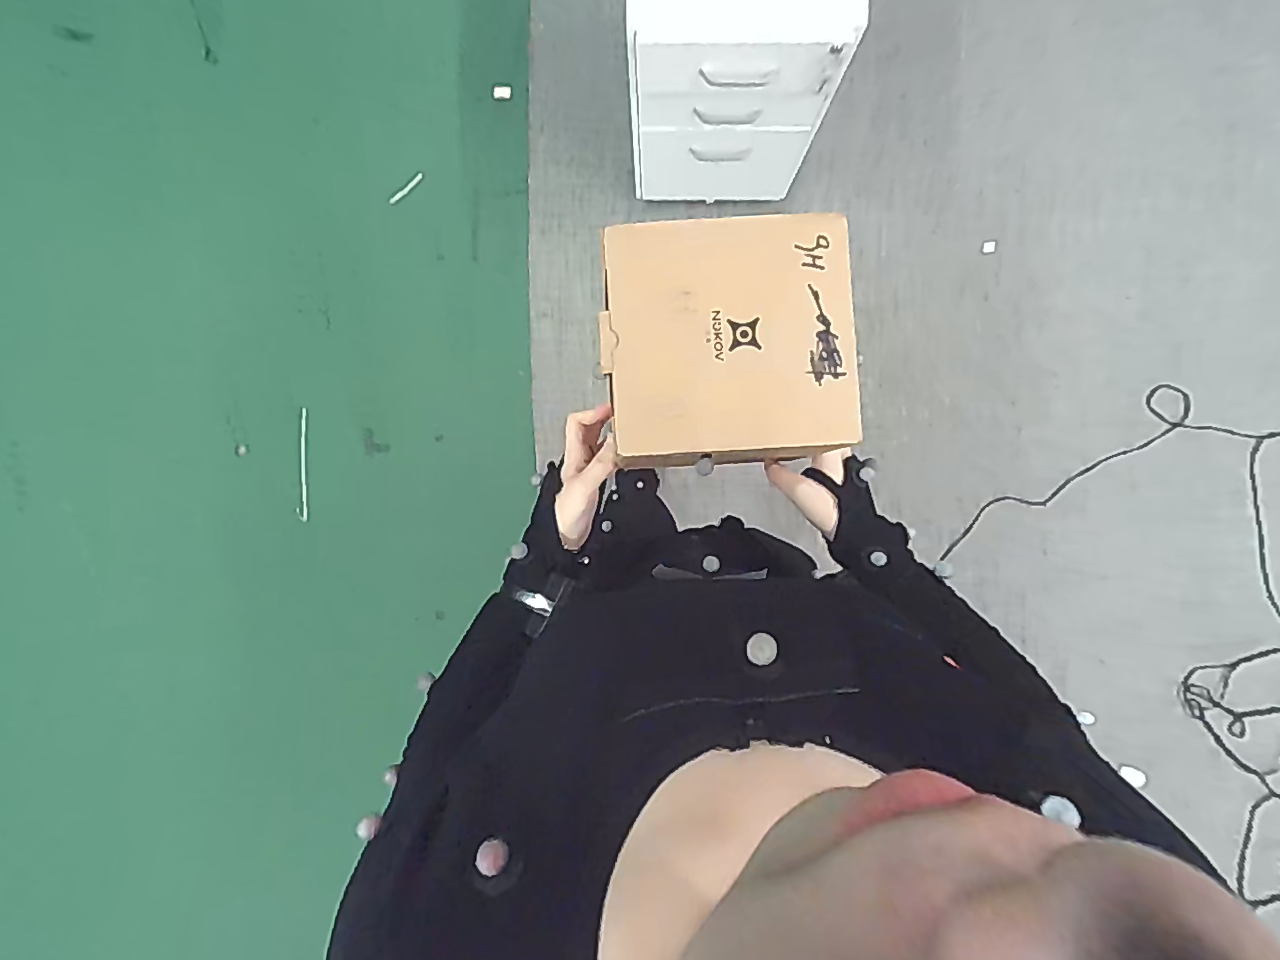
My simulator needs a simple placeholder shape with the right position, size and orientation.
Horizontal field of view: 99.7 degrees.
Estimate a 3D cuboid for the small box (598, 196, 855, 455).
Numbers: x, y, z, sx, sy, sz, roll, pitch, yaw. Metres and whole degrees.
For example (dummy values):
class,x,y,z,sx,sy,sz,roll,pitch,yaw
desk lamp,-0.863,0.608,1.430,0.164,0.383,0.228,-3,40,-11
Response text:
class,x,y,z,sx,sy,sz,roll,pitch,yaw
small box,0.060,-0.112,0.458,0.179,0.176,0.168,-2,87,0
